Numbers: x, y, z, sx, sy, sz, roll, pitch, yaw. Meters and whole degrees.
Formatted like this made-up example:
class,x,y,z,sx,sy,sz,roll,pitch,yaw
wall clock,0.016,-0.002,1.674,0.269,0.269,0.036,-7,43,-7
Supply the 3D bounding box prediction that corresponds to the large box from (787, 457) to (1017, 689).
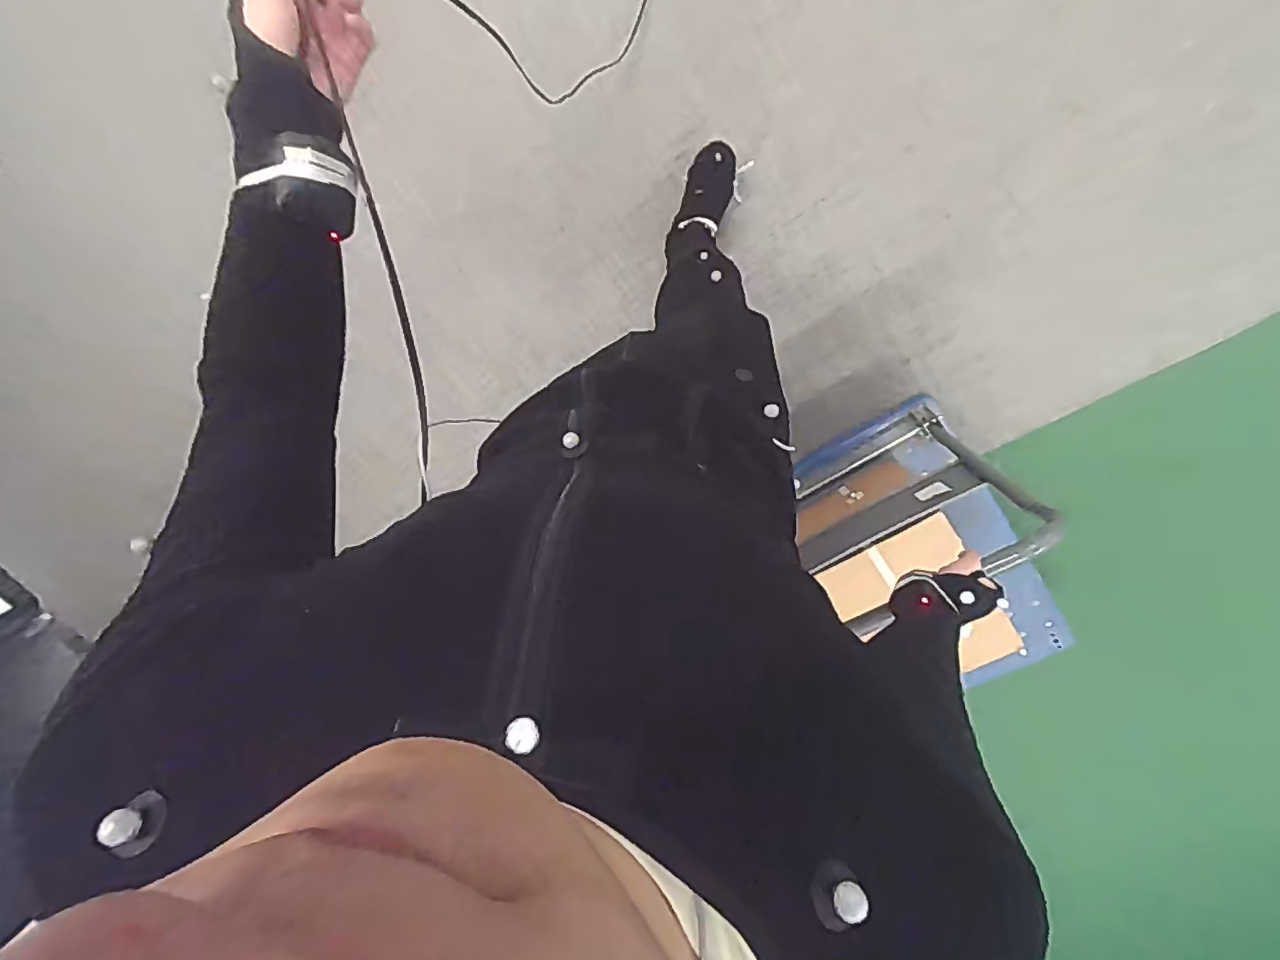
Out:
class,x,y,z,sx,sy,sz,roll,pitch,yaw
large box,0.619,0.219,1.341,0.320,0.320,0.408,-33,105,20
